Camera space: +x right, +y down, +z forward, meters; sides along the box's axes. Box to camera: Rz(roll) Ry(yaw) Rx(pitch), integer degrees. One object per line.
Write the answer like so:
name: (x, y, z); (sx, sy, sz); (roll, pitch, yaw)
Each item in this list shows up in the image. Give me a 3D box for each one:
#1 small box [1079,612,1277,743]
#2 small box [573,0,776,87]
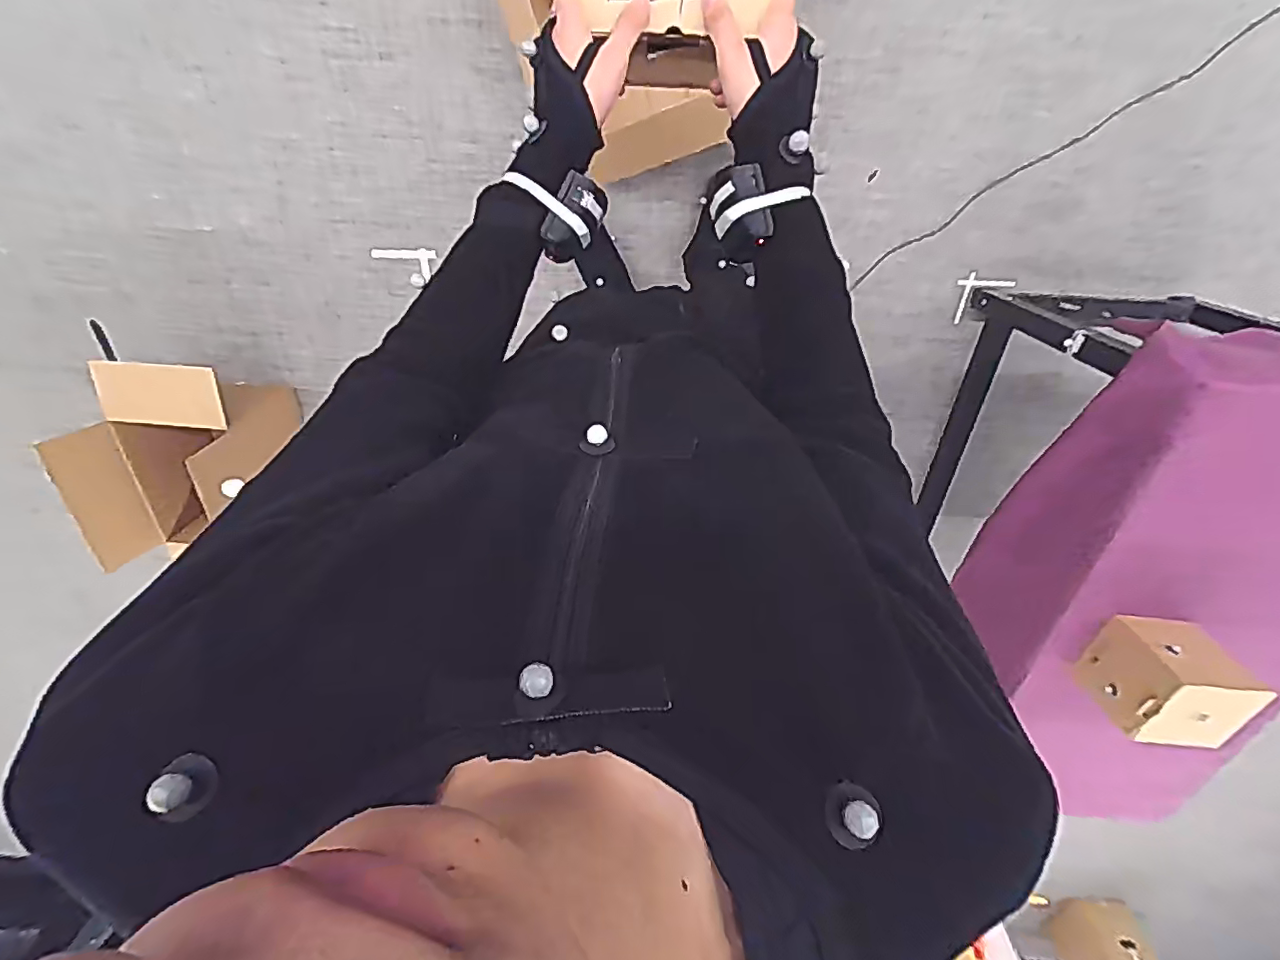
small box: (1.015, 0.376, 1.044); (0.179, 0.176, 0.168); (6, 122, -3)
small box: (0.031, -0.471, 0.478); (0.168, 0.176, 0.179); (1, 114, -1)
